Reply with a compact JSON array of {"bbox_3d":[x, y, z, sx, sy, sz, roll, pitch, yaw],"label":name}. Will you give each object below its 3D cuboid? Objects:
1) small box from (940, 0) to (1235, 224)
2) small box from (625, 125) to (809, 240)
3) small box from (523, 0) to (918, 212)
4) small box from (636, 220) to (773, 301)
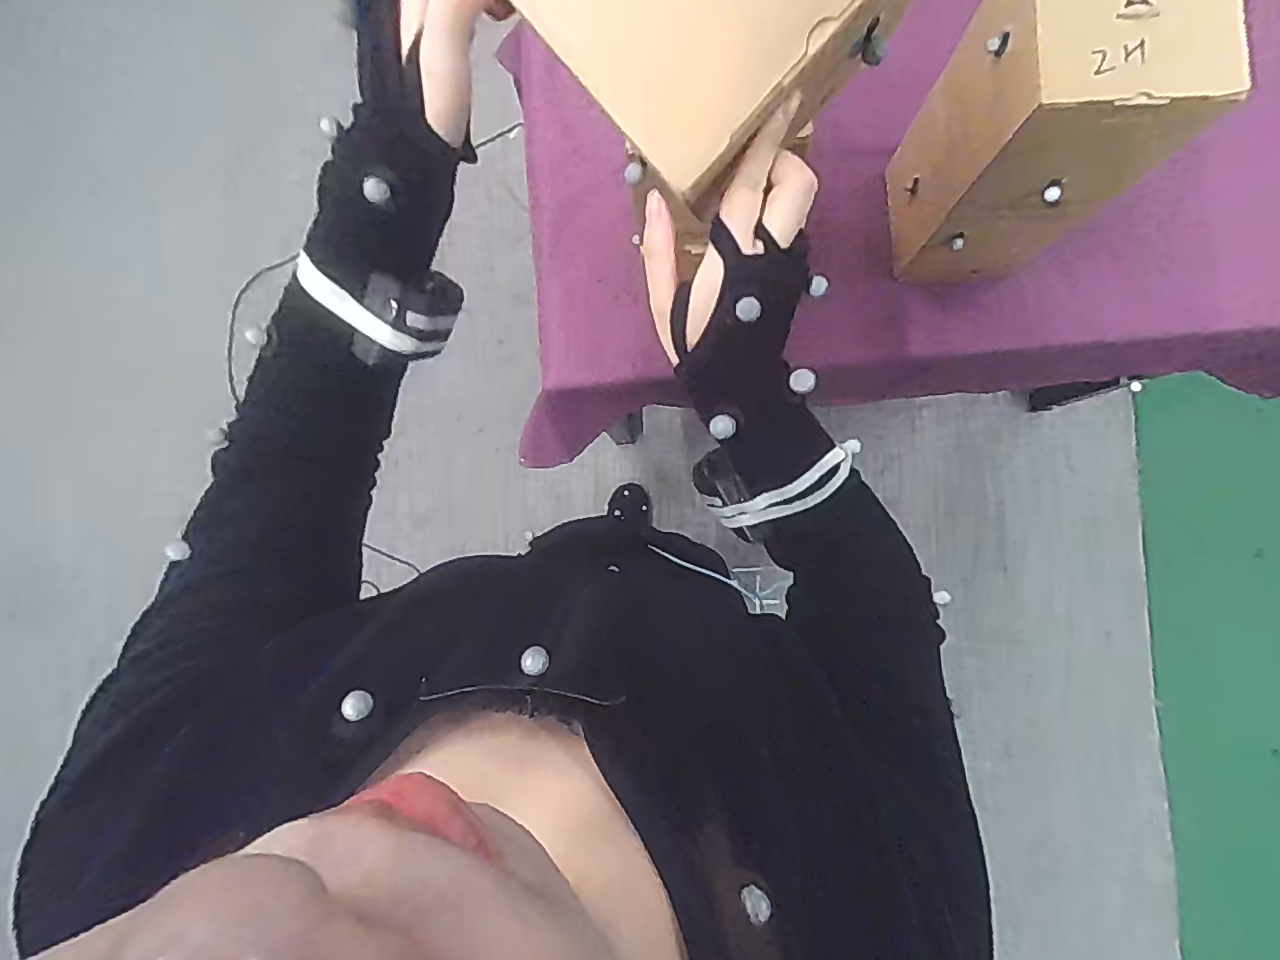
[{"bbox_3d":[0.423,-0.387,0.544,0.168,0.176,0.179,1,86,4],"label":"small box"},{"bbox_3d":[0.074,-0.370,0.564,0.168,0.176,0.179,0,85,3],"label":"small box"},{"bbox_3d":[0.038,-0.271,0.291,0.168,0.176,0.179,-38,99,20],"label":"small box"},{"bbox_3d":[0.082,-0.351,0.728,0.168,0.176,0.179,-1,87,3],"label":"small box"}]
